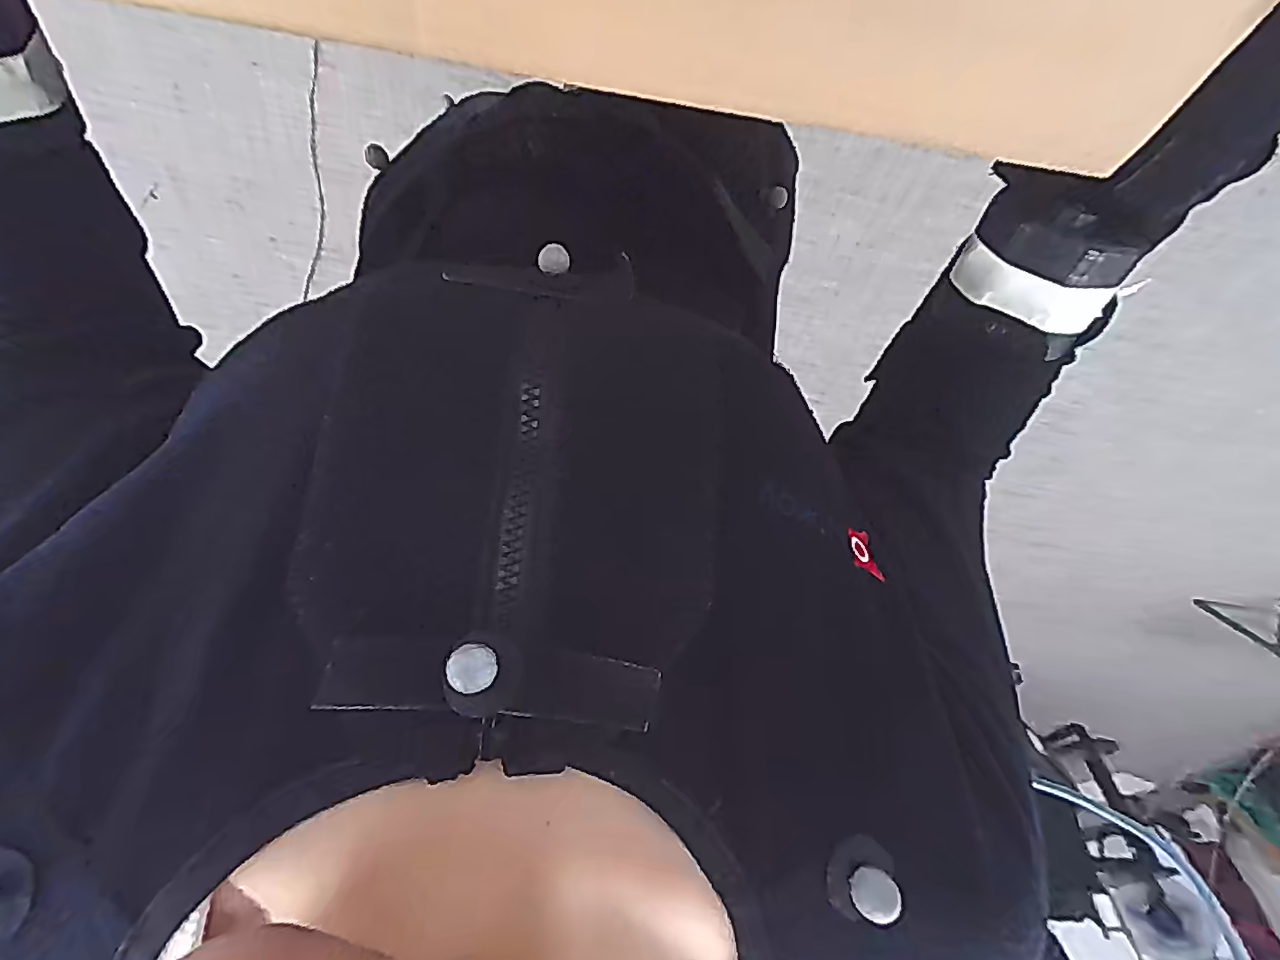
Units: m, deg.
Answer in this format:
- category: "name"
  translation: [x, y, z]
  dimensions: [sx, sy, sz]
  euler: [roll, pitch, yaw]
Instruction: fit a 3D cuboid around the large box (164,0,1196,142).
- category: "large box"
  translation: [-0.009, -0.340, 0.116]
  dimensions: [0.408, 0.320, 0.320]
  euler: [5, 151, -7]
